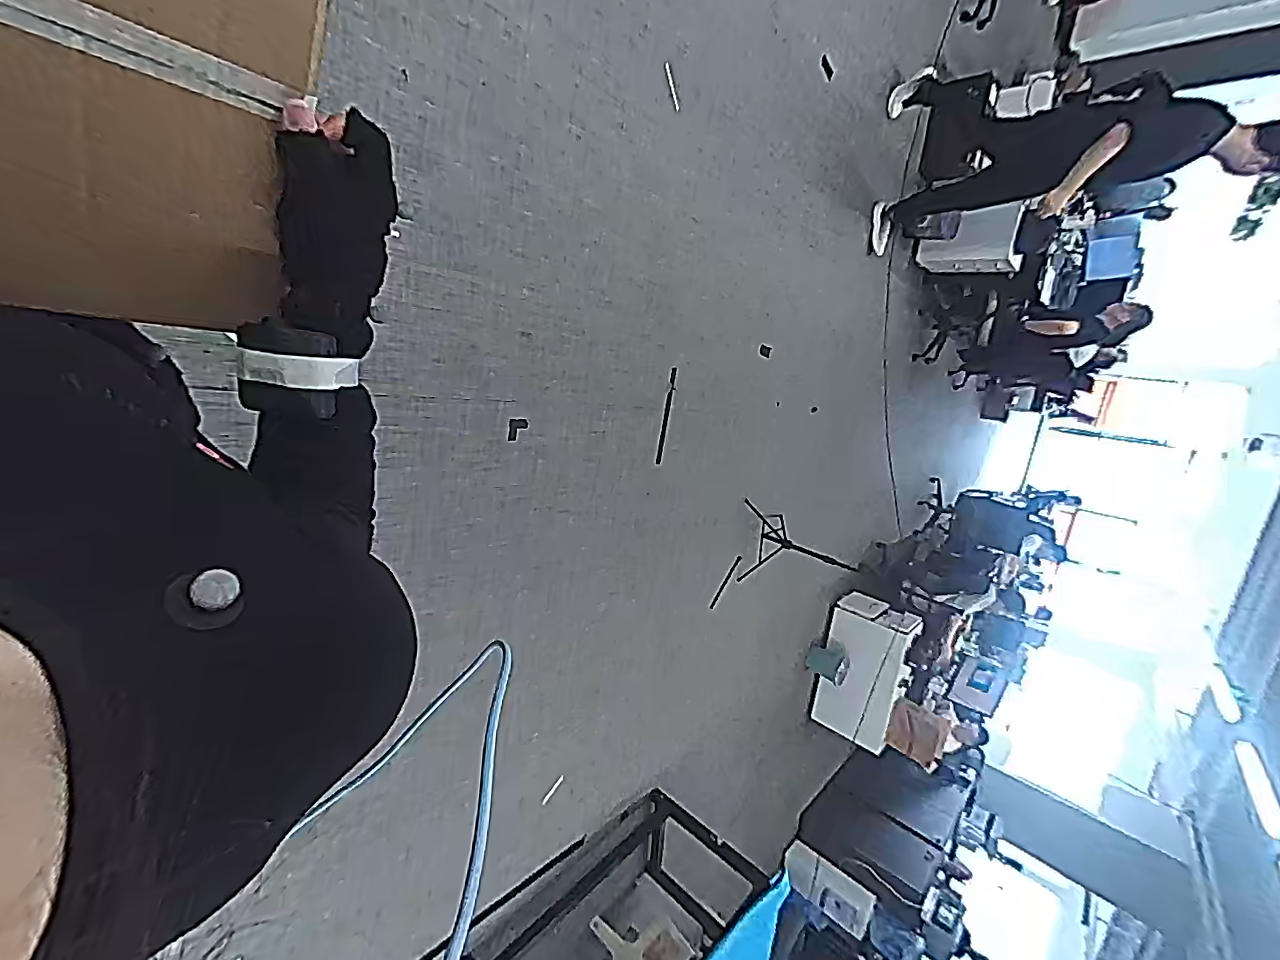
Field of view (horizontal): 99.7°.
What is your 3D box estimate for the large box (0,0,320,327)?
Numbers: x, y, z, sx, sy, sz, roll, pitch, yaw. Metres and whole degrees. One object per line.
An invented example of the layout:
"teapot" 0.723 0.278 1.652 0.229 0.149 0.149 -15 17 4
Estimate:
"large box" -0.433 -0.314 0.270 0.408 0.320 0.320 -5 136 -46
